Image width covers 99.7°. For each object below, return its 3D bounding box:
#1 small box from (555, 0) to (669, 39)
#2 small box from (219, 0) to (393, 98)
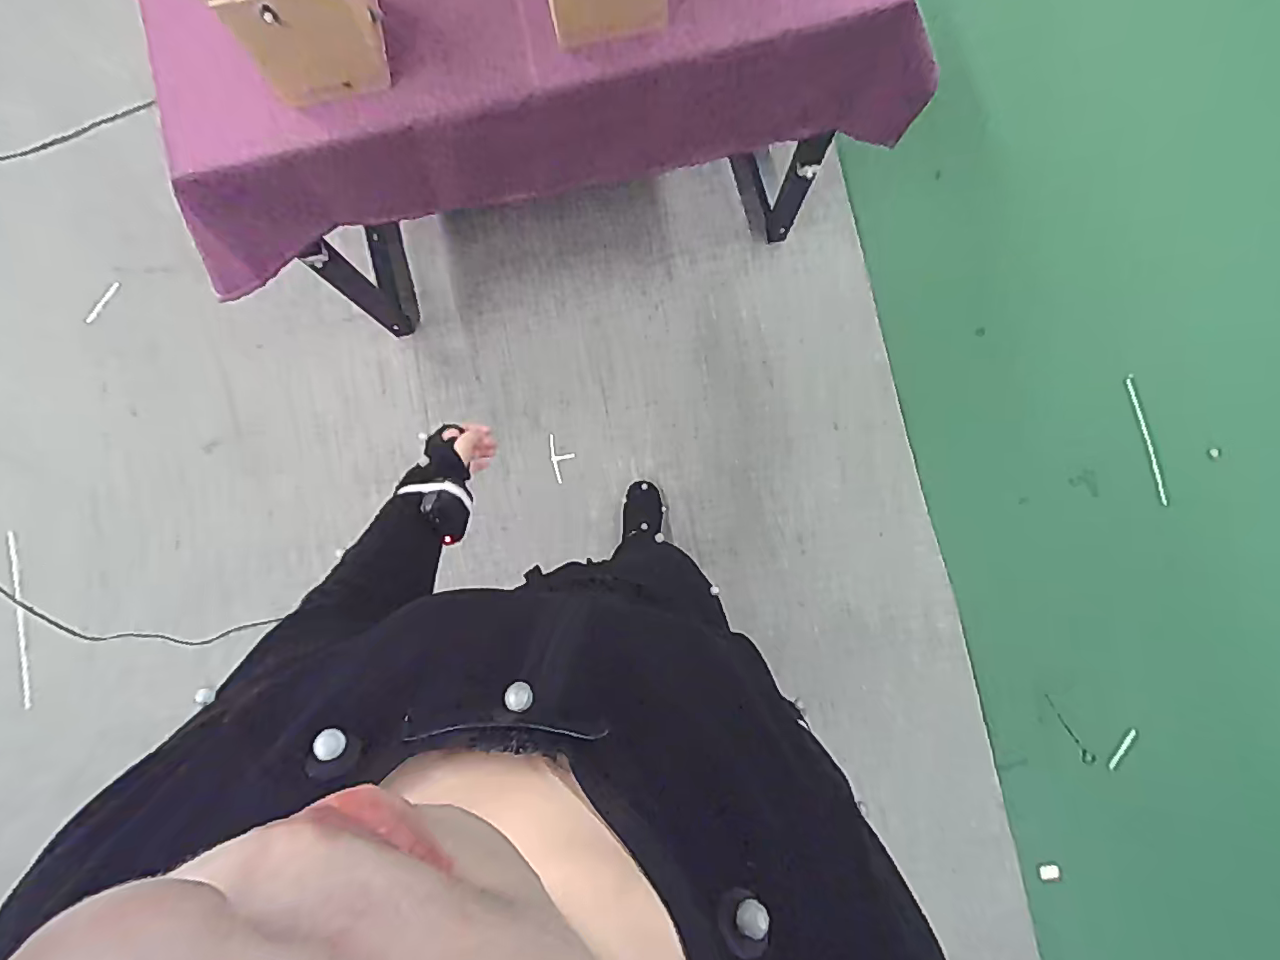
[{"bbox_3d":[-0.053,-0.791,0.783,0.179,0.176,0.168,-12,85,-2],"label":"small box"},{"bbox_3d":[-0.480,-0.702,0.775,0.168,0.176,0.179,-11,84,0],"label":"small box"}]
